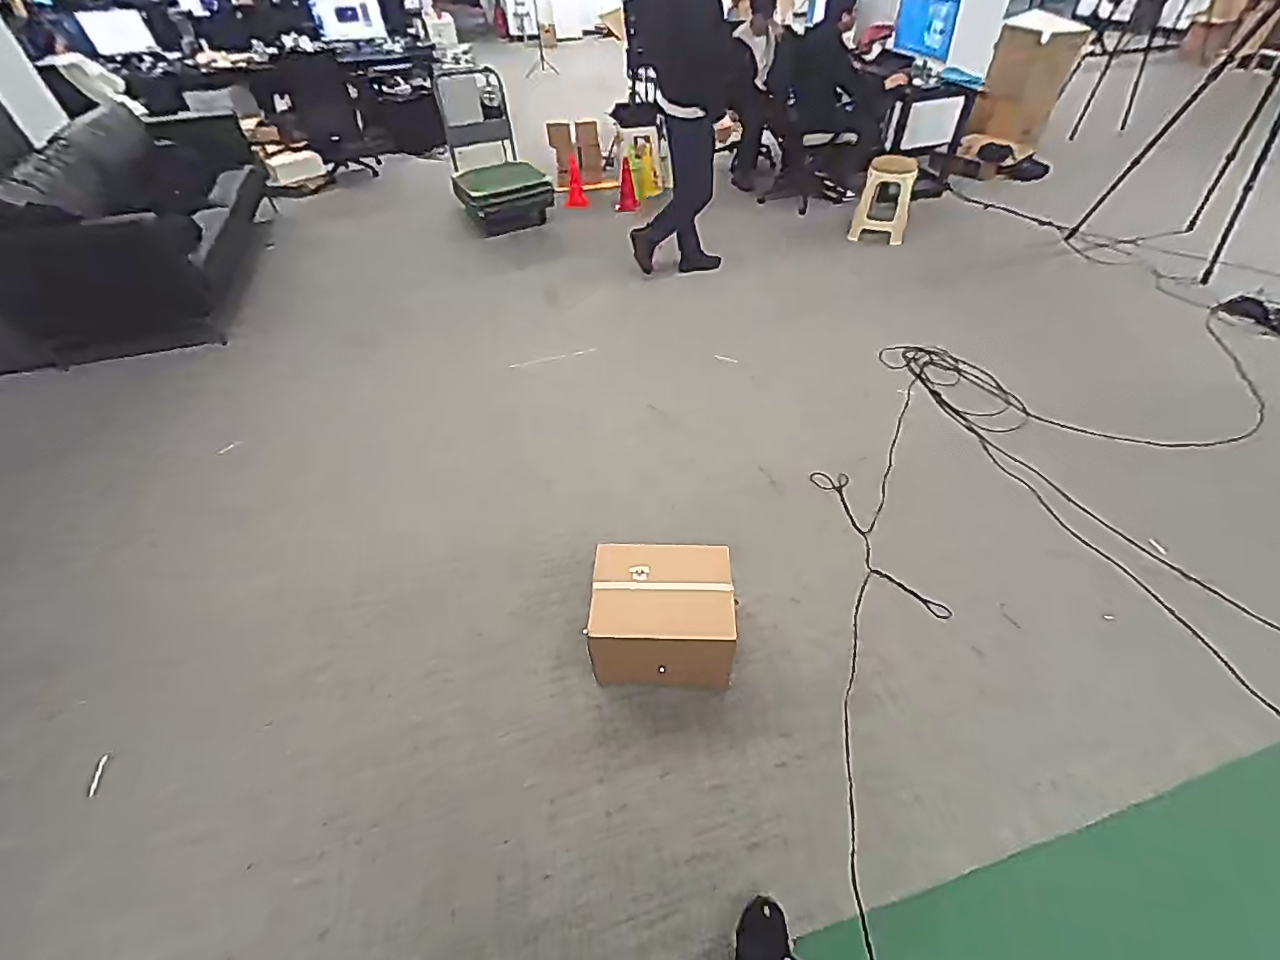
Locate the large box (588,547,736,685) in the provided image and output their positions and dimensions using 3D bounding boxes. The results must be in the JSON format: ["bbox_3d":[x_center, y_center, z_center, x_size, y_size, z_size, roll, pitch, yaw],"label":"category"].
[{"bbox_3d":[0.071,0.420,1.654,0.408,0.320,0.320,-1,46,4],"label":"large box"}]
